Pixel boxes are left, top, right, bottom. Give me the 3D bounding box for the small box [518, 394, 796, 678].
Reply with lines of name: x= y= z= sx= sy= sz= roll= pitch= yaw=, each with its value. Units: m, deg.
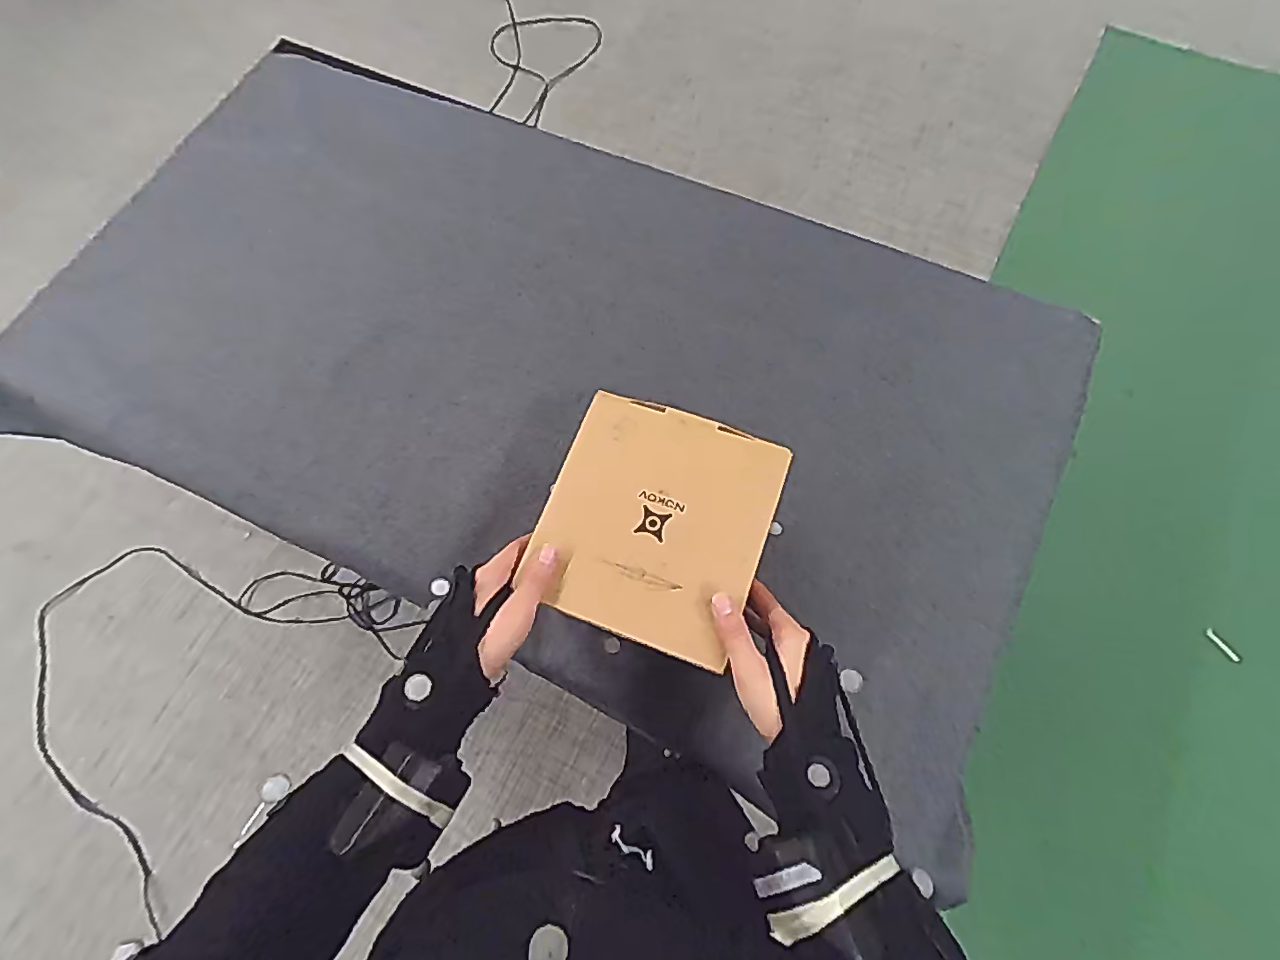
small box: x=0.020 y=0.057 z=0.476 sx=0.168 sy=0.176 sz=0.179 roll=18 pitch=74 yaw=10
